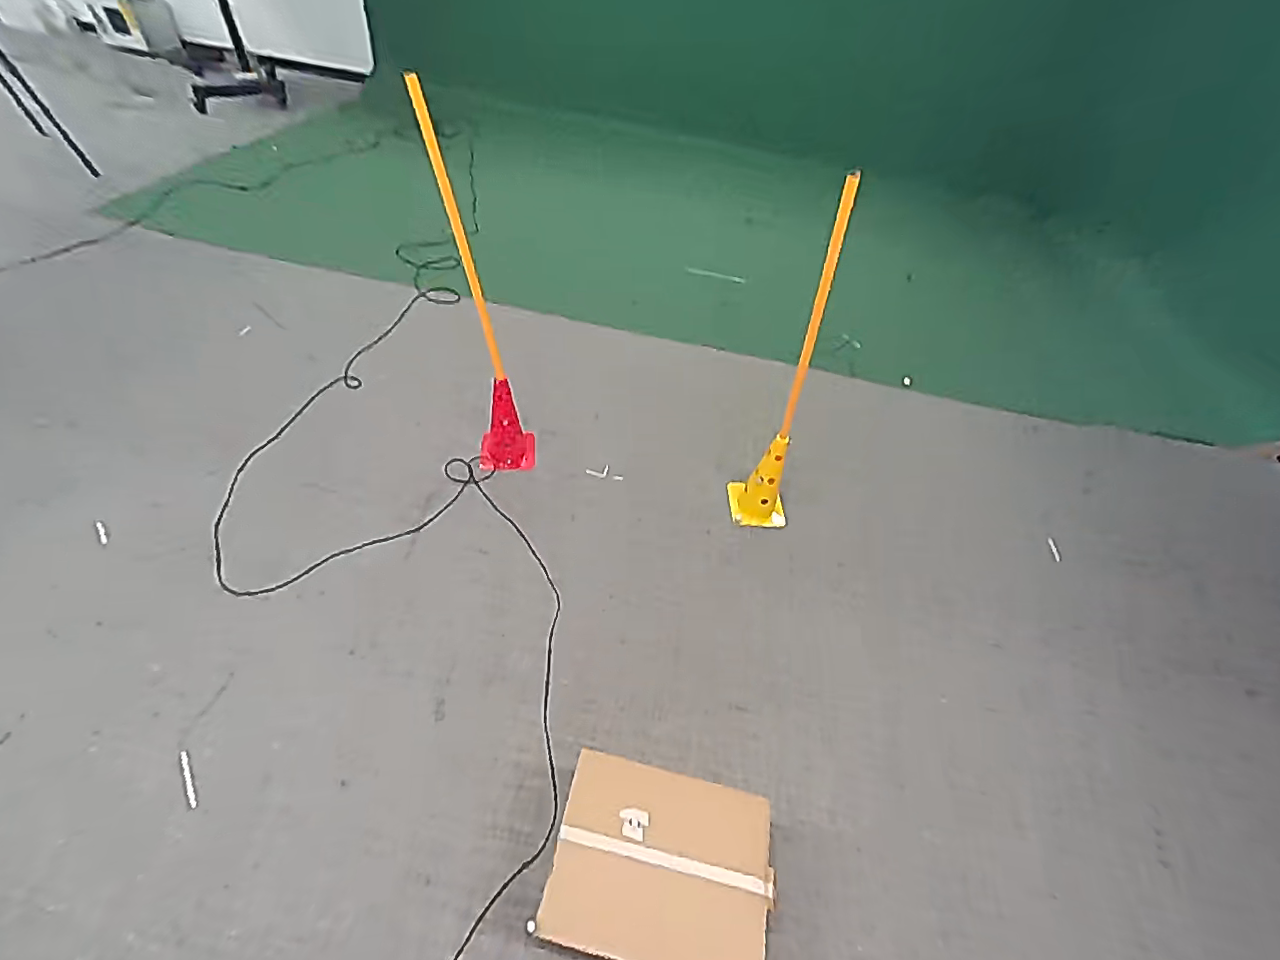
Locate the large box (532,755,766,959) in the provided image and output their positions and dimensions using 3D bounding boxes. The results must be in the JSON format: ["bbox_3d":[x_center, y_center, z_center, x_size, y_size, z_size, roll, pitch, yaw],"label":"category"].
[{"bbox_3d":[0.023,0.824,1.127,0.408,0.320,0.320,13,46,4],"label":"large box"}]
